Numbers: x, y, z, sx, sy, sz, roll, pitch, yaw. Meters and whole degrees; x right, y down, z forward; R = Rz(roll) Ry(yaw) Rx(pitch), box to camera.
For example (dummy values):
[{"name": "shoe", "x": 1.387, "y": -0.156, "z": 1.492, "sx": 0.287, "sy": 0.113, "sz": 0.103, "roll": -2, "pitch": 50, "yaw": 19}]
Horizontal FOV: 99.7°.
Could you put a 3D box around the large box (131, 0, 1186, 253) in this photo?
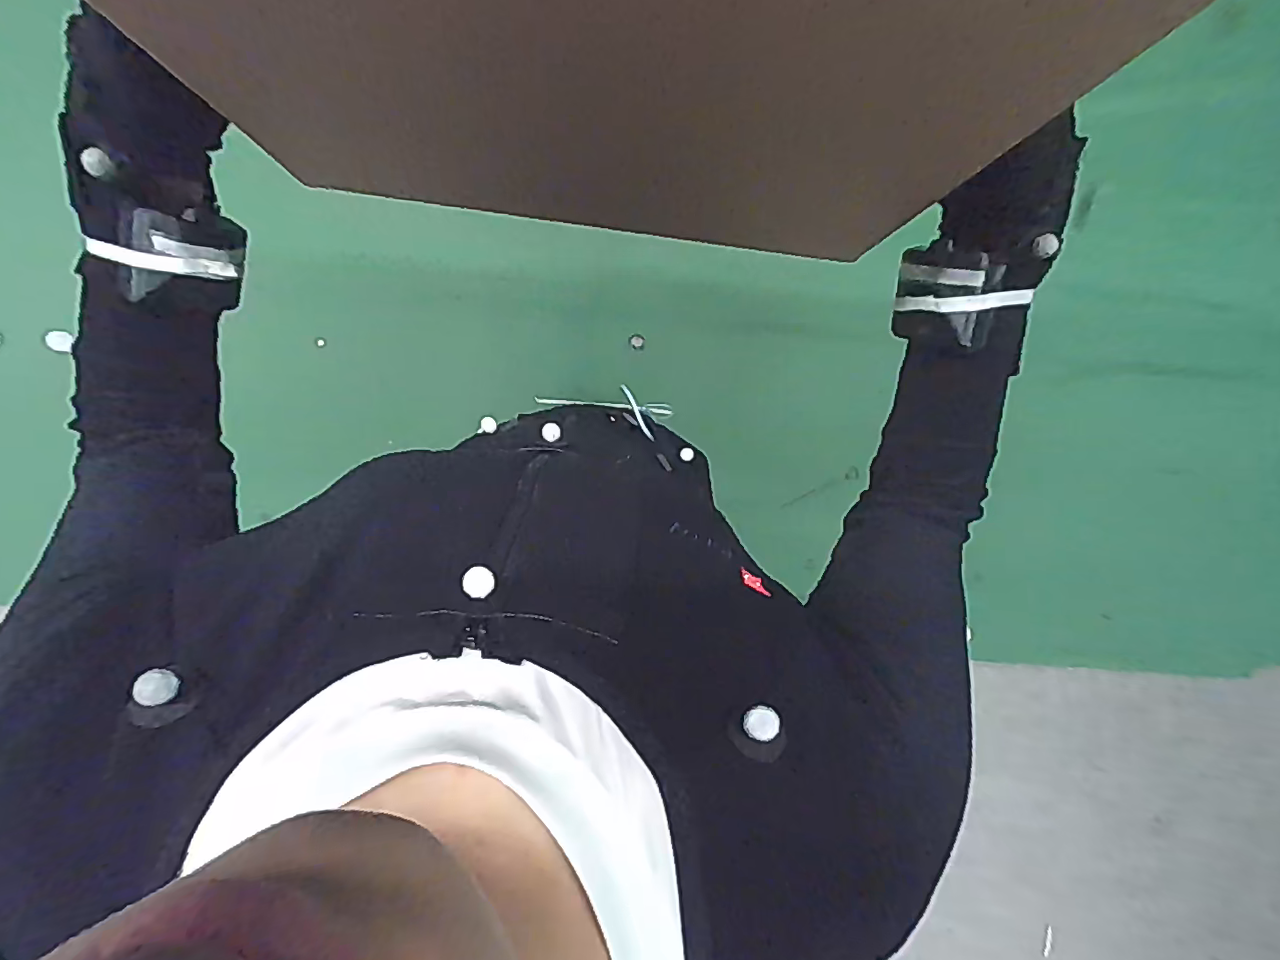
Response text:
[{"name": "large box", "x": -0.006, "y": -0.329, "z": 0.237, "sx": 0.408, "sy": 0.320, "sz": 0.320, "roll": 7, "pitch": 94, "yaw": -5}]
